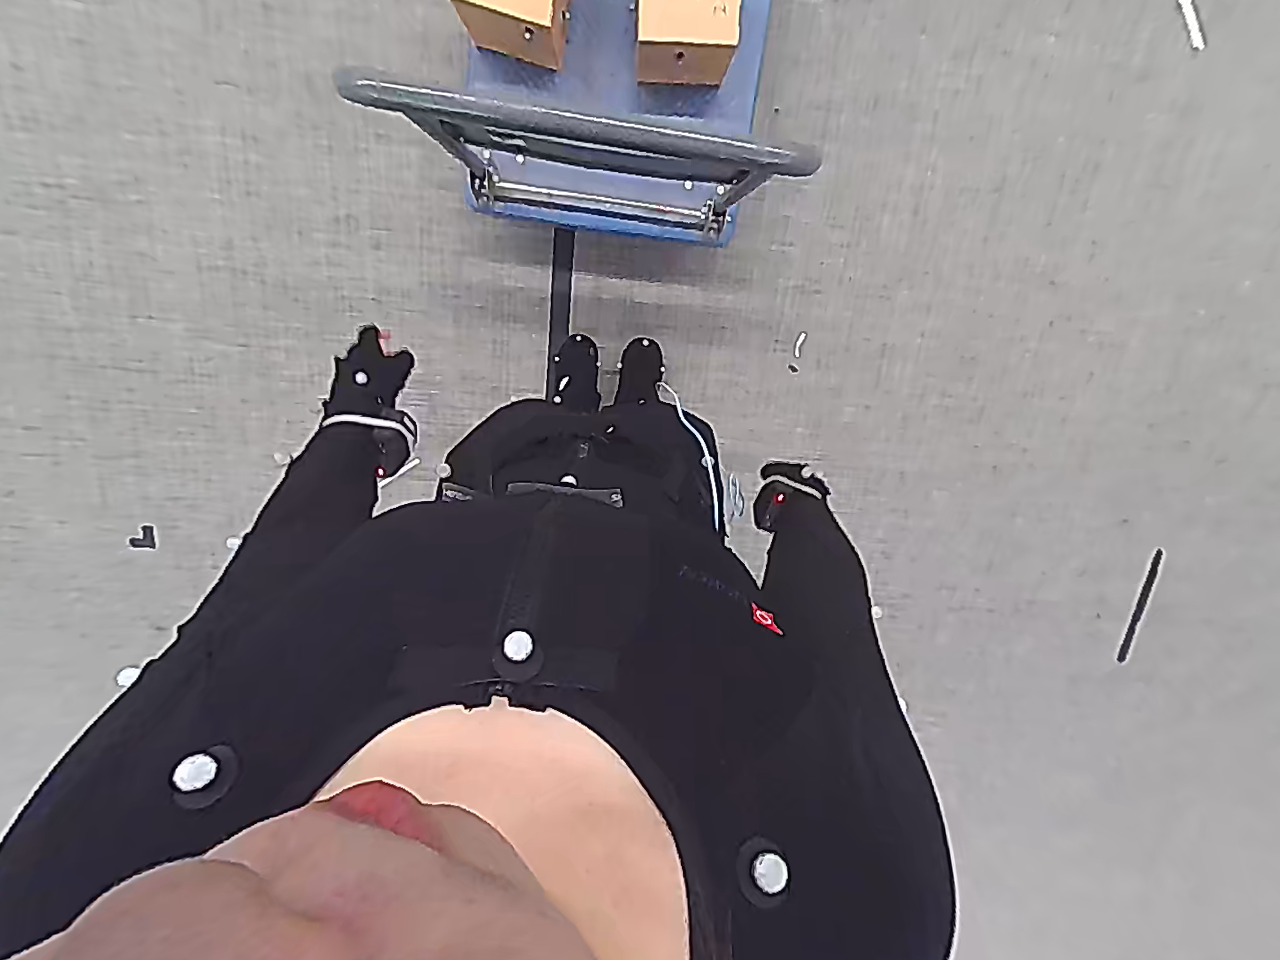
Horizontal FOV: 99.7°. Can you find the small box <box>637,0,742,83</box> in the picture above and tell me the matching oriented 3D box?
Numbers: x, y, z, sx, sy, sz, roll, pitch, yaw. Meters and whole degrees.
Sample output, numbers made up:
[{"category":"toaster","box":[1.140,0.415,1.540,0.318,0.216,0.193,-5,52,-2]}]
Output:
[{"category":"small box","box":[0.085,-0.852,0.983,0.179,0.176,0.168,1,107,-2]}]

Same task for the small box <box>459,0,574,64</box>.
[{"category":"small box","box":[-0.216,-0.885,0.962,0.179,0.176,0.168,12,106,-7]}]
